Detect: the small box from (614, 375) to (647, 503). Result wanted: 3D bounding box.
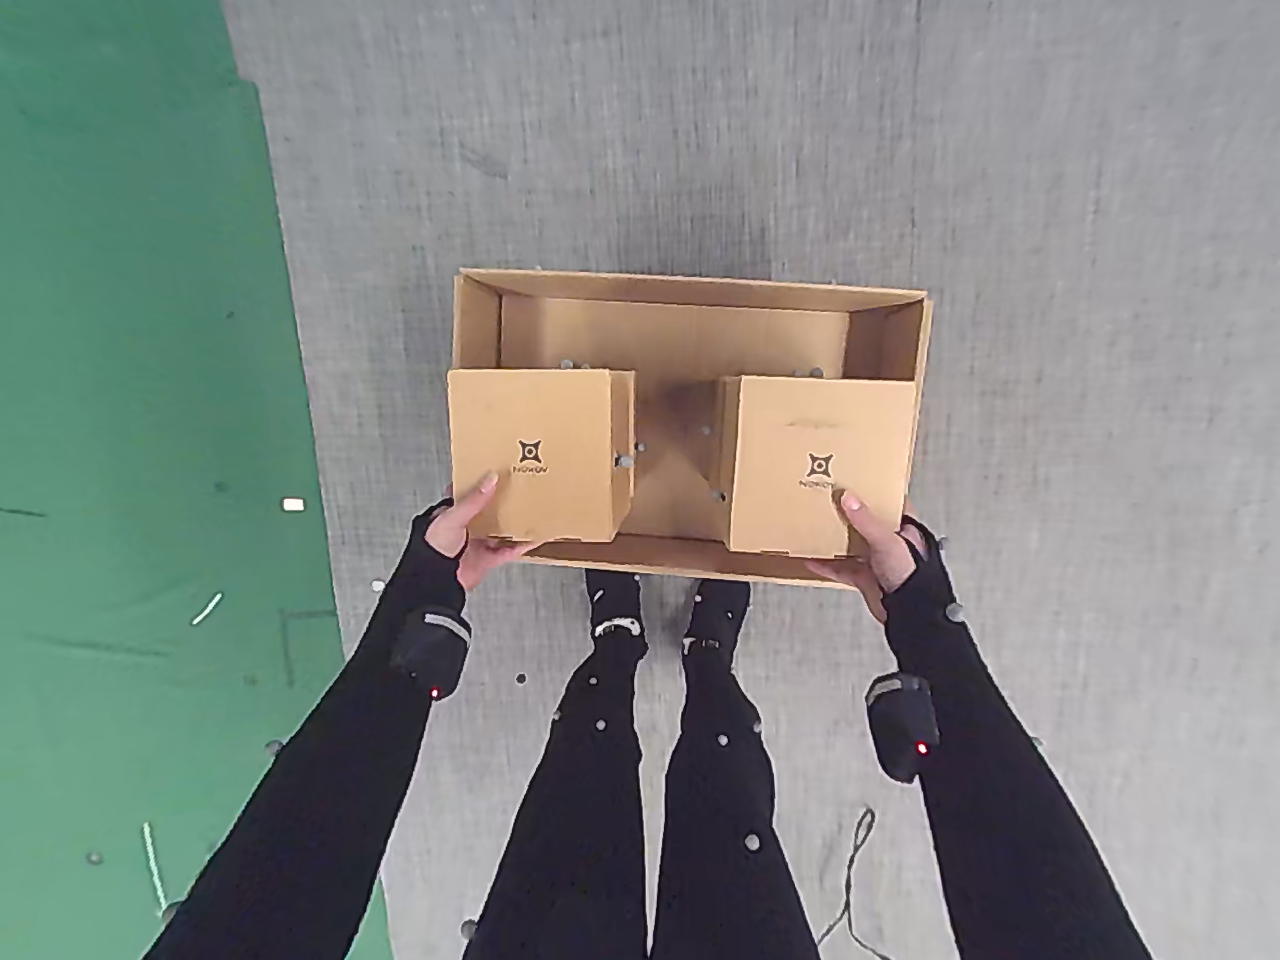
[{"bbox_3d":[-0.087,-0.062,0.773,0.179,0.176,0.168,2,98,6],"label":"small box"}]

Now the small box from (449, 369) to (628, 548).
[{"bbox_3d":[-0.104,-0.030,0.615,0.168,0.176,0.179,2,98,4],"label":"small box"}]

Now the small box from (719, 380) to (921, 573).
[{"bbox_3d":[0.178,-0.013,0.592,0.168,0.176,0.179,4,97,3],"label":"small box"}]
